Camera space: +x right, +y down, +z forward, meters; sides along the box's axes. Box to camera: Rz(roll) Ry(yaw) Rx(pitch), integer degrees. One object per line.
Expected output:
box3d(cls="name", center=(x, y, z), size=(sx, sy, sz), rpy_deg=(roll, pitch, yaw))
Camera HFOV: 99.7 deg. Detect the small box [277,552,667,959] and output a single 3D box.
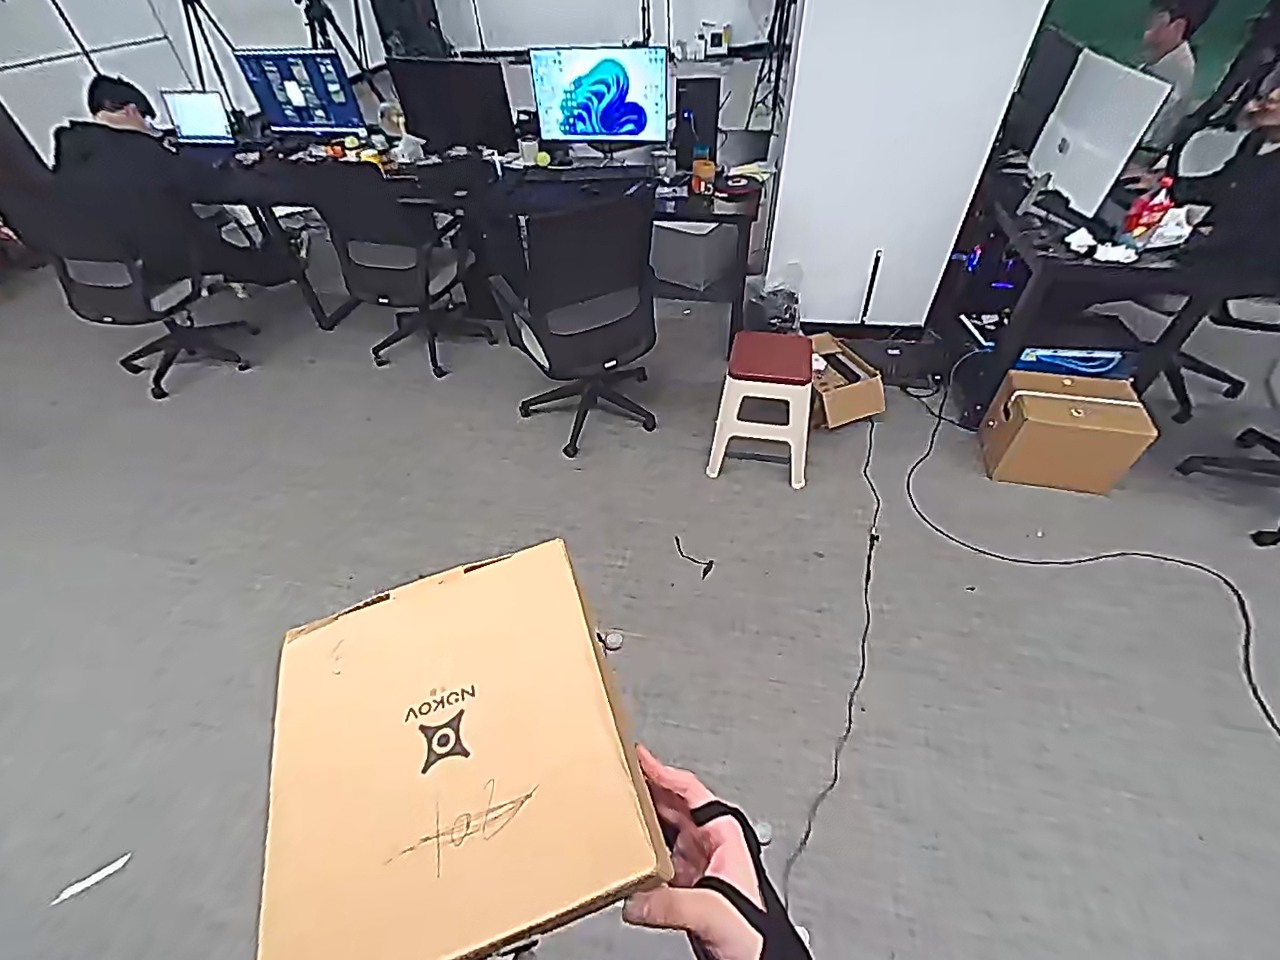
box3d(cls="small box", center=(-0.089, 0.179, 0.341), size=(0.168, 0.176, 0.179), rpy_deg=(-19, 54, -7))
